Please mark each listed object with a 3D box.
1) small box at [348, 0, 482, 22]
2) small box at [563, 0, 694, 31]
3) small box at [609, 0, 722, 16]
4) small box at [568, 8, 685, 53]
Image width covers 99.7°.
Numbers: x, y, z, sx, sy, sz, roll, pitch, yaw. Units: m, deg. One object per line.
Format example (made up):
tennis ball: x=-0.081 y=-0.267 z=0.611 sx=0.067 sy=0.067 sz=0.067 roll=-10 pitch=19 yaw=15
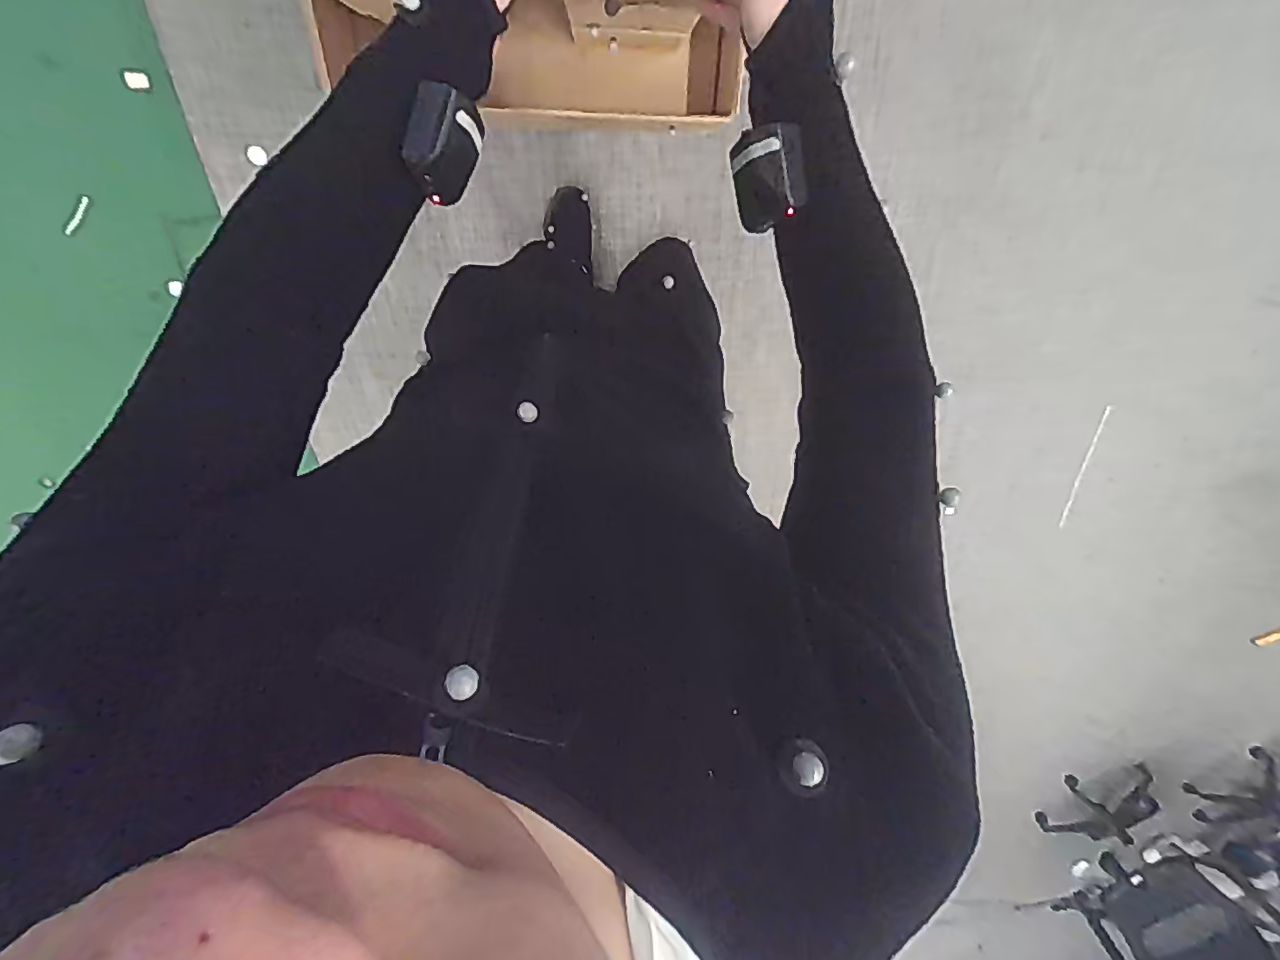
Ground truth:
small box: x=-0.281 y=-0.649 z=0.612 sx=0.168 sy=0.176 sz=0.179 roll=1 pitch=121 yaw=-5
small box: x=-0.006 y=-0.650 z=0.629 sx=0.168 sy=0.176 sz=0.179 roll=0 pitch=120 yaw=-3
small box: x=0.003 y=-0.510 z=0.436 sx=0.168 sy=0.176 sz=0.179 roll=5 pitch=125 yaw=-6
small box: x=-0.015 y=-0.733 z=0.771 sx=0.168 sy=0.176 sz=0.179 roll=1 pitch=120 yaw=-3
